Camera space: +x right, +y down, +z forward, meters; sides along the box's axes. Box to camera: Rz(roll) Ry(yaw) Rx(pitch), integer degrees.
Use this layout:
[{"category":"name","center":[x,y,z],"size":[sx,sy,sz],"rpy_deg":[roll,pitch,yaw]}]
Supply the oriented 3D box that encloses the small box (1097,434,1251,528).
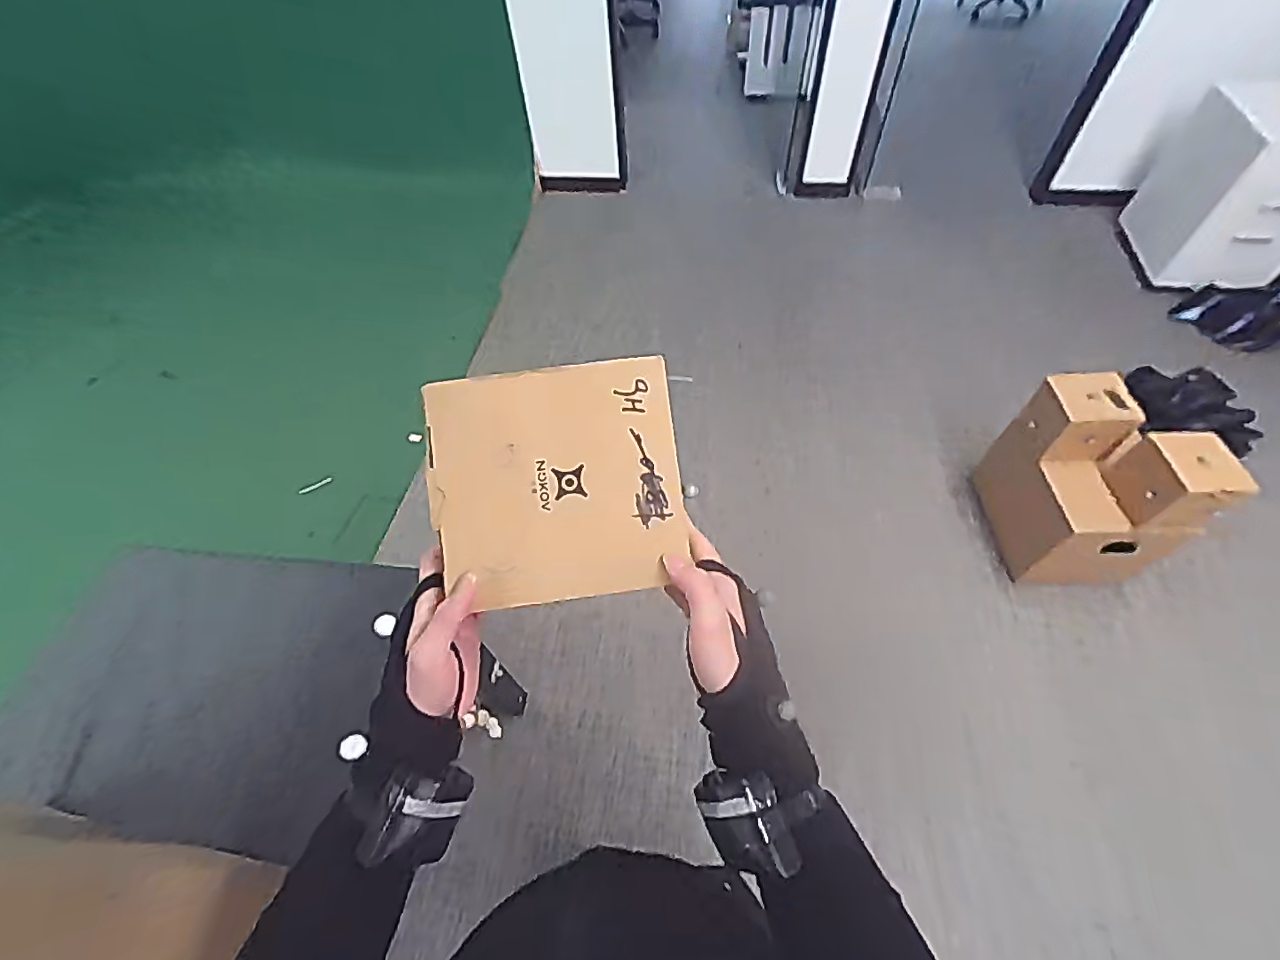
[{"category":"small box","center":[1.297,0.007,1.331],"size":[0.168,0.176,0.179],"rpy_deg":[-1,53,-1]}]

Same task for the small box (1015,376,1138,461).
[{"category":"small box","center":[1.165,-0.163,1.461],"size":[0.179,0.176,0.168],"rpy_deg":[-1,54,6]}]

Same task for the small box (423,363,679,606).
[{"category":"small box","center":[-0.065,0.009,0.467],"size":[0.179,0.176,0.168],"rpy_deg":[-6,86,-2]}]
